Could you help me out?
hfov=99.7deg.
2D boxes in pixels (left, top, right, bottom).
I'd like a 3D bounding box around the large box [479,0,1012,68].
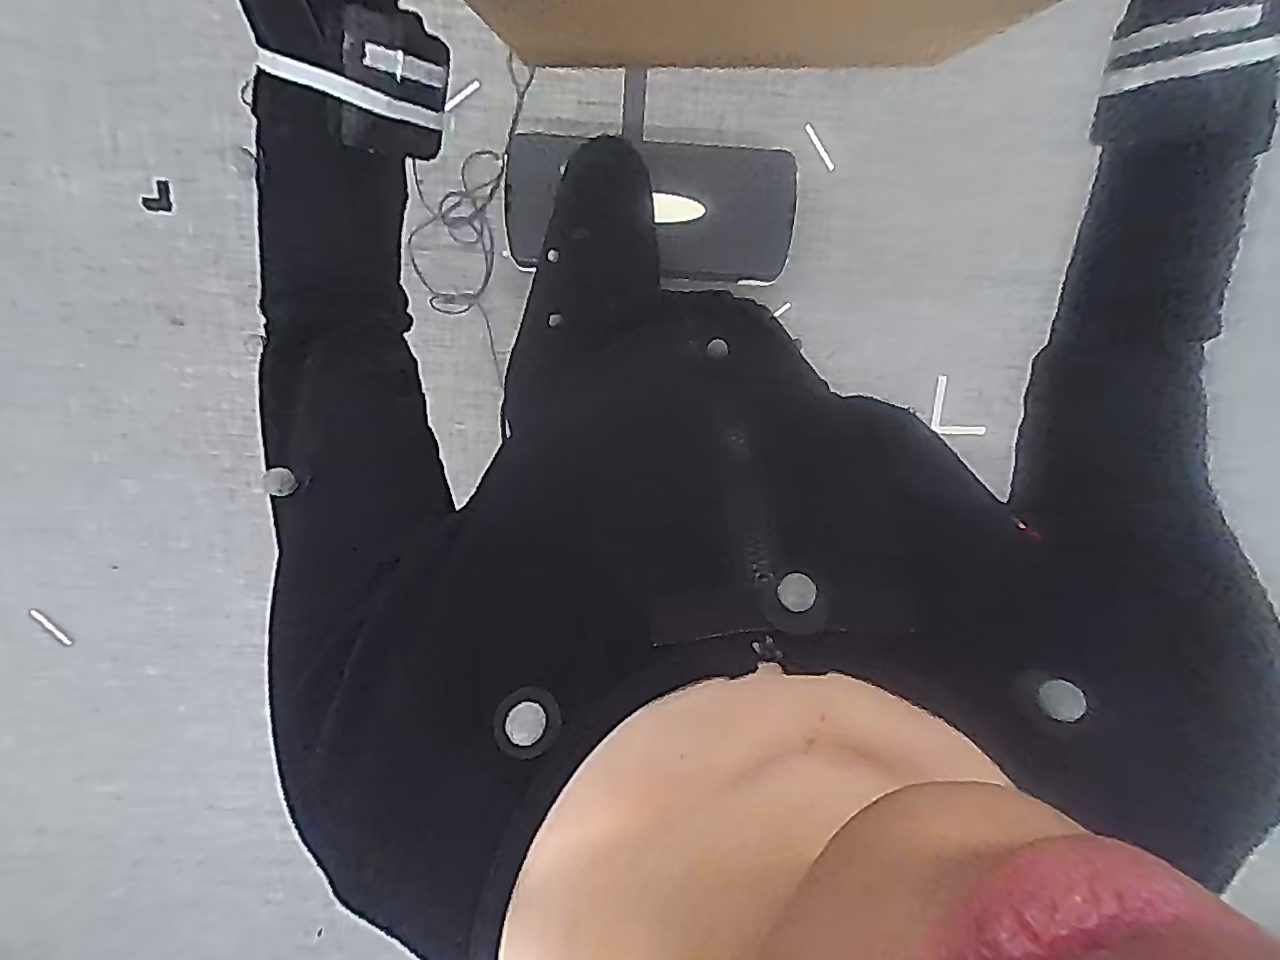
[{"bbox_3d":[0.078,-0.482,0.330,0.408,0.320,0.320,0,117,1],"label":"large box"}]
